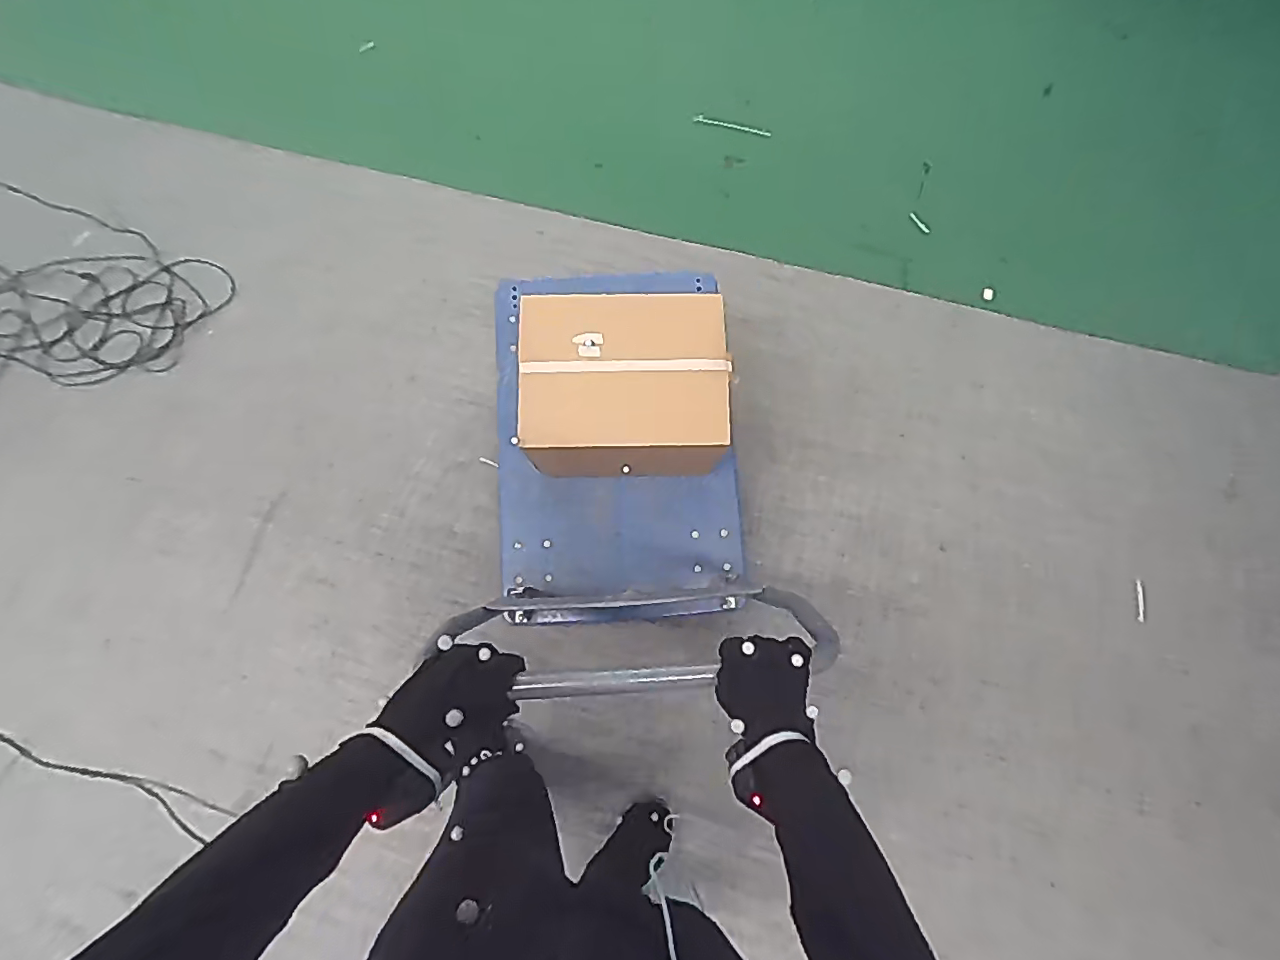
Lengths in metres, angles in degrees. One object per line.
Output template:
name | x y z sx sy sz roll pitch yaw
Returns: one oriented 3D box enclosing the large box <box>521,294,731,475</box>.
large box | -0.029 -0.189 1.192 0.408 0.320 0.320 -1 80 0
